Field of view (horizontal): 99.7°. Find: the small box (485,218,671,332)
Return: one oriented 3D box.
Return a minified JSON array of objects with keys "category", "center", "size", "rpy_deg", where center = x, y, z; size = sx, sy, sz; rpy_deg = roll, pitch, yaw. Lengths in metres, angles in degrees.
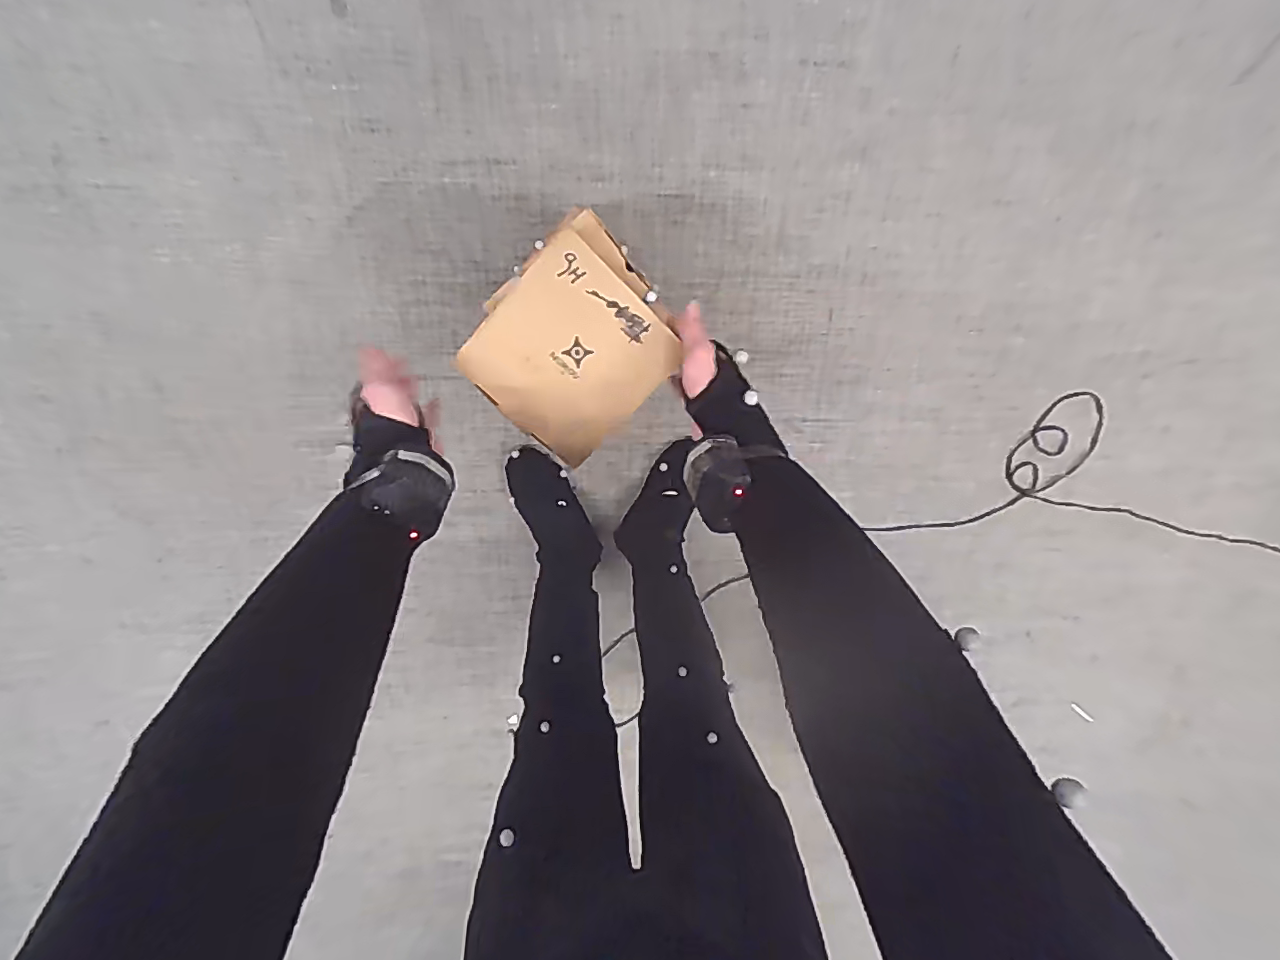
[{"category":"small box","center":[-0.082,-0.232,0.746],"size":[0.179,0.176,0.168],"rpy_deg":[-37,110,12]}]

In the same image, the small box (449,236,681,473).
[{"category":"small box","center":[-0.074,-0.145,0.606],"size":[0.179,0.176,0.168],"rpy_deg":[-42,109,15]}]

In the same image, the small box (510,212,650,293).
[{"category":"small box","center":[-0.103,-0.306,0.892],"size":[0.168,0.176,0.179],"rpy_deg":[41,103,-18]}]
